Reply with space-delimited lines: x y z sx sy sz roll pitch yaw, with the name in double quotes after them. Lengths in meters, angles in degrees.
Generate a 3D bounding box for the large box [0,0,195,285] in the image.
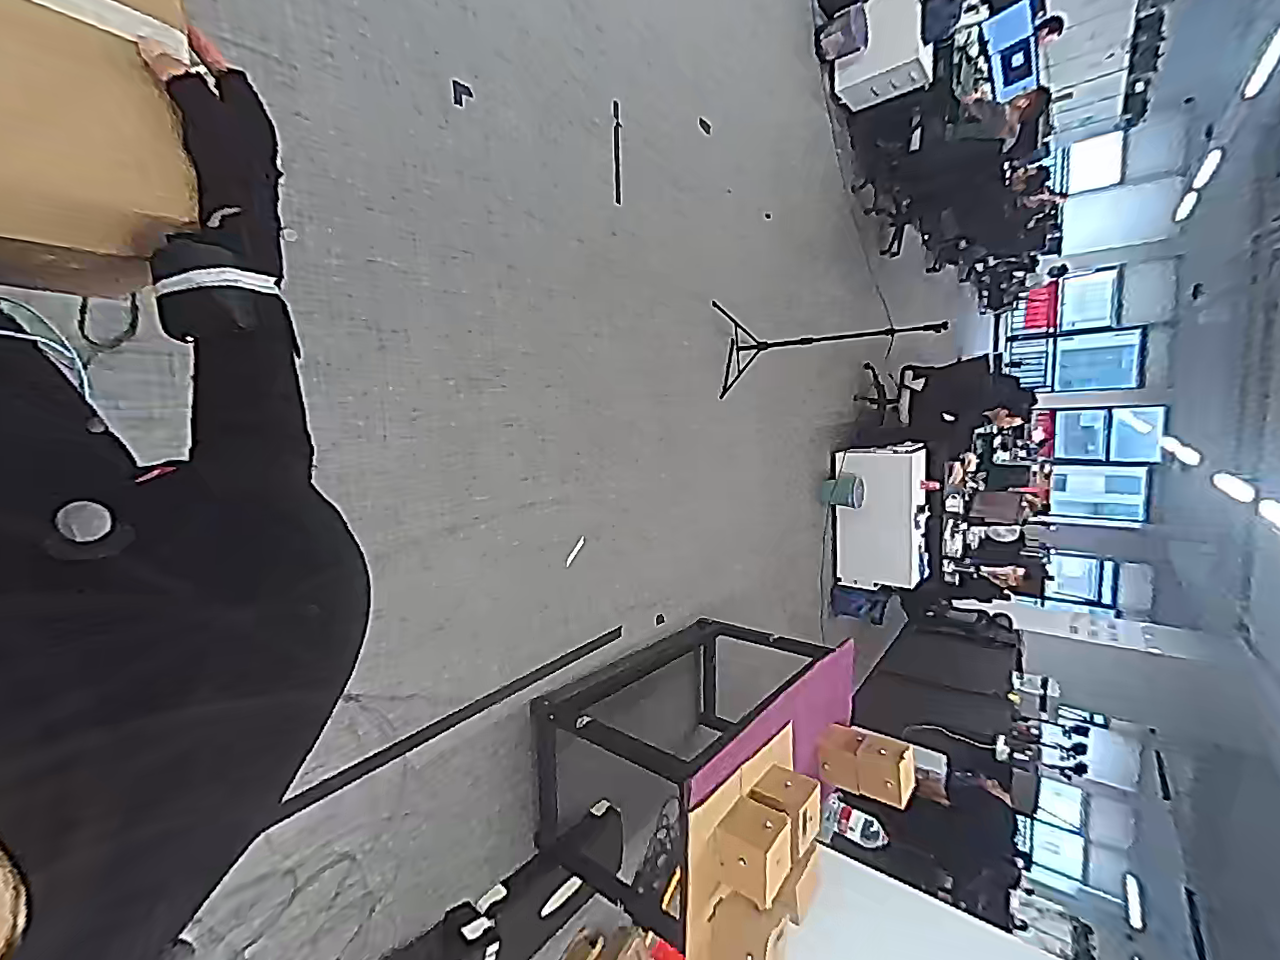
-0.590 -0.329 0.340 0.408 0.320 0.320 -8 105 -53 "large box"
